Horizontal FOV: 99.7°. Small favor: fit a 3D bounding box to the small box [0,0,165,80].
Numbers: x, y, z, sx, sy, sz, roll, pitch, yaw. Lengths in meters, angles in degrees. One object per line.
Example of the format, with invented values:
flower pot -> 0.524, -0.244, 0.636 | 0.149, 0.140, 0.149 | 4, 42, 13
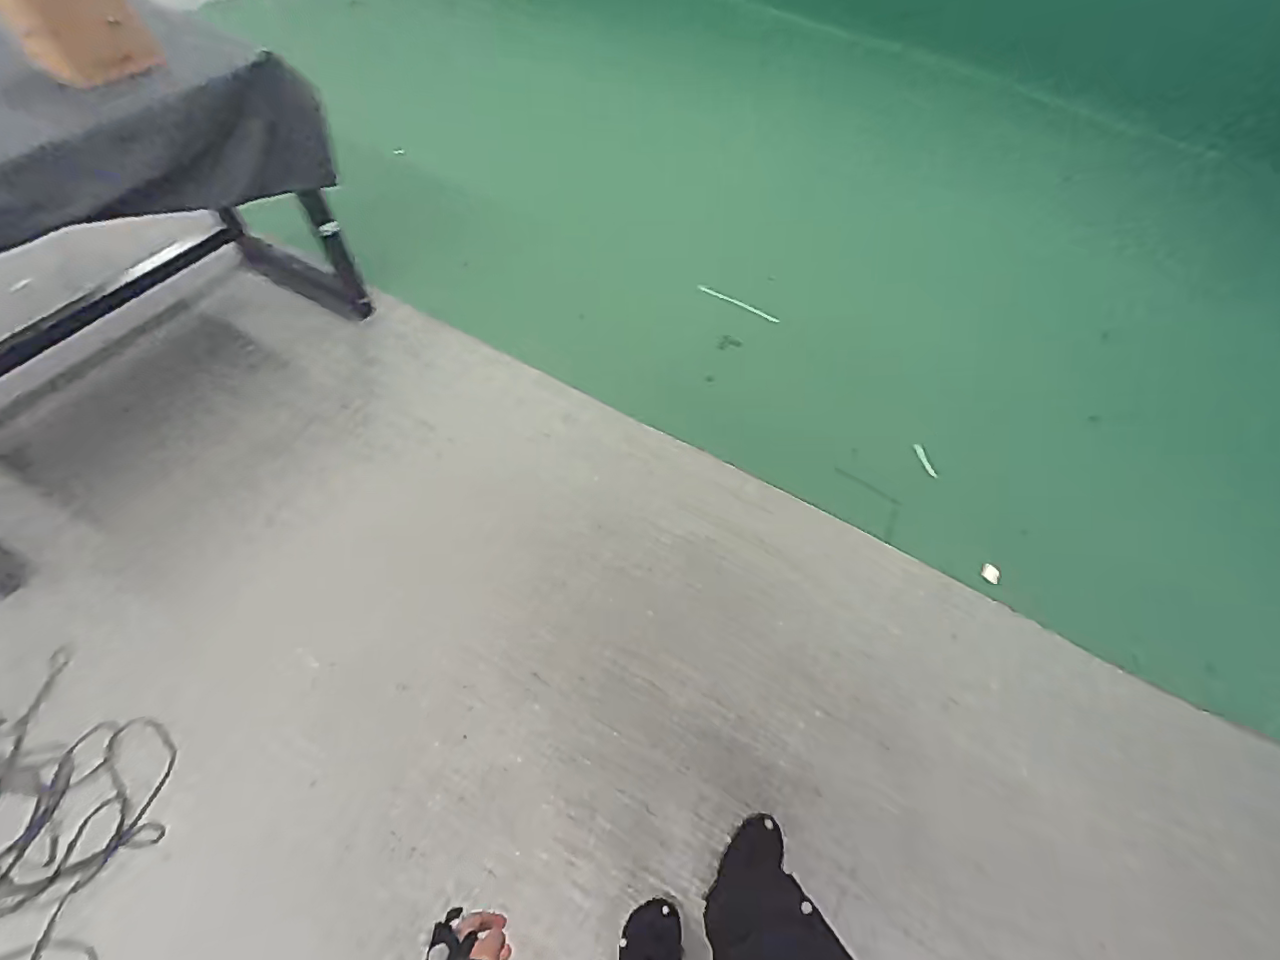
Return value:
small box -> -1.086, -0.905, 1.040 | 0.179, 0.176, 0.168 | 29, 59, 14
